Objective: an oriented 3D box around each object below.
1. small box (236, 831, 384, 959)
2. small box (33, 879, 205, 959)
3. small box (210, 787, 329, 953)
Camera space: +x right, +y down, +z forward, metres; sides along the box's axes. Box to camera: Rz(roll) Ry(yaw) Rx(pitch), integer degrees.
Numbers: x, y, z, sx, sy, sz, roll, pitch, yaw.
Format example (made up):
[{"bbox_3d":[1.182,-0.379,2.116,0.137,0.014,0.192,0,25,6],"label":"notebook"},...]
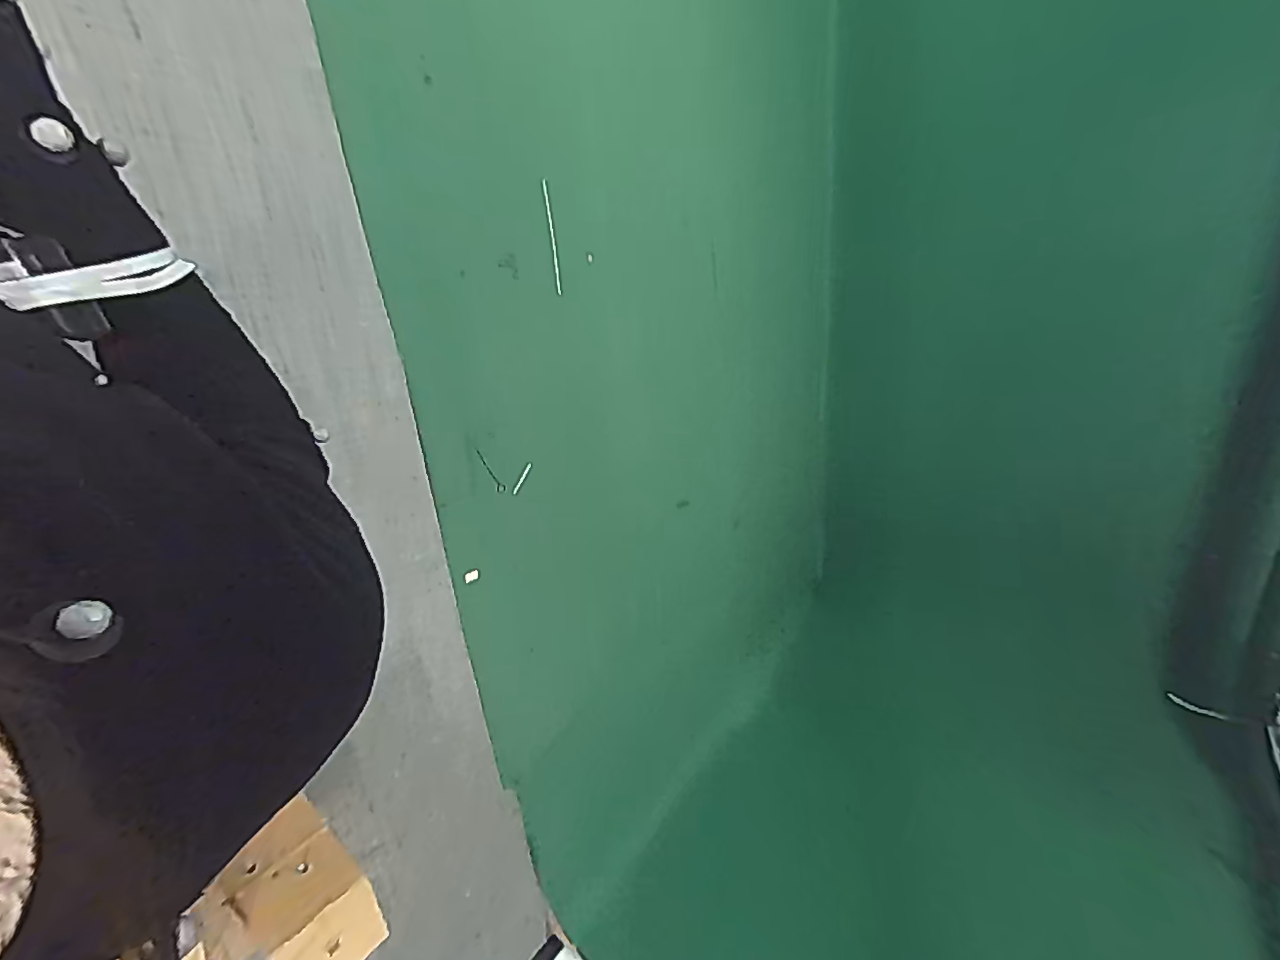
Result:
[{"bbox_3d":[-0.612,0.810,1.006,0.168,0.176,0.179,-26,119,-45],"label":"small box"},{"bbox_3d":[-0.760,0.758,0.803,0.168,0.176,0.179,-16,112,-48],"label":"small box"},{"bbox_3d":[-0.740,0.783,1.104,0.179,0.176,0.168,-29,123,-45],"label":"small box"}]
